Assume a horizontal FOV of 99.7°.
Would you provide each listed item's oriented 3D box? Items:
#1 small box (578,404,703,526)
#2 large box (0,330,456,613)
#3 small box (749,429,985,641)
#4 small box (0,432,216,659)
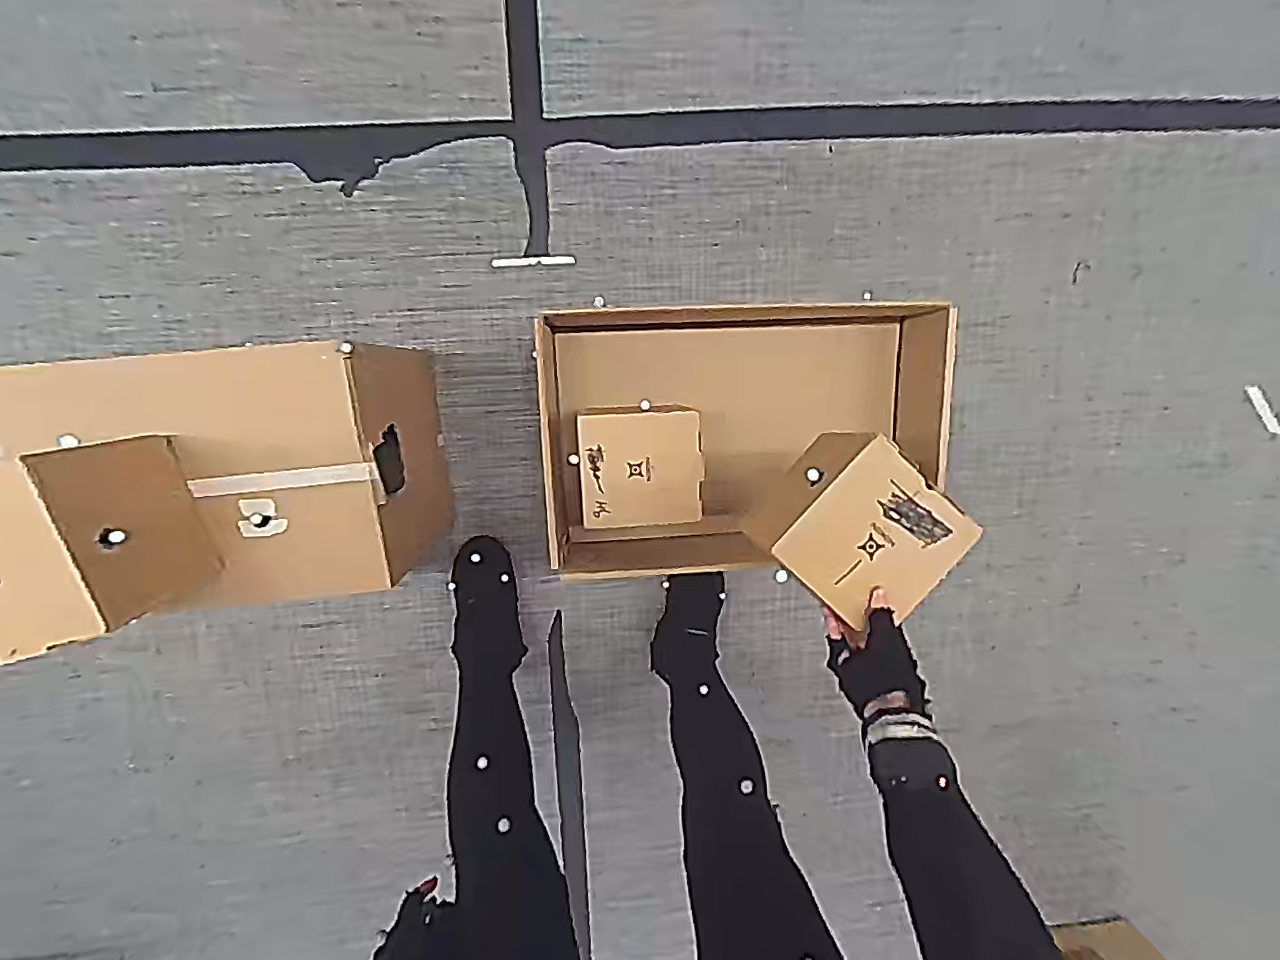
[{"bbox_3d":[-0.006,-0.032,0.843,0.179,0.176,0.168,-3,100,-5],"label":"small box"},{"bbox_3d":[-0.530,-0.030,0.790,0.408,0.320,0.320,-7,103,-3],"label":"large box"},{"bbox_3d":[0.258,0.054,0.663,0.168,0.176,0.179,42,93,-3],"label":"small box"},{"bbox_3d":[-0.594,0.060,0.555,0.168,0.176,0.179,-14,102,-3],"label":"small box"}]
